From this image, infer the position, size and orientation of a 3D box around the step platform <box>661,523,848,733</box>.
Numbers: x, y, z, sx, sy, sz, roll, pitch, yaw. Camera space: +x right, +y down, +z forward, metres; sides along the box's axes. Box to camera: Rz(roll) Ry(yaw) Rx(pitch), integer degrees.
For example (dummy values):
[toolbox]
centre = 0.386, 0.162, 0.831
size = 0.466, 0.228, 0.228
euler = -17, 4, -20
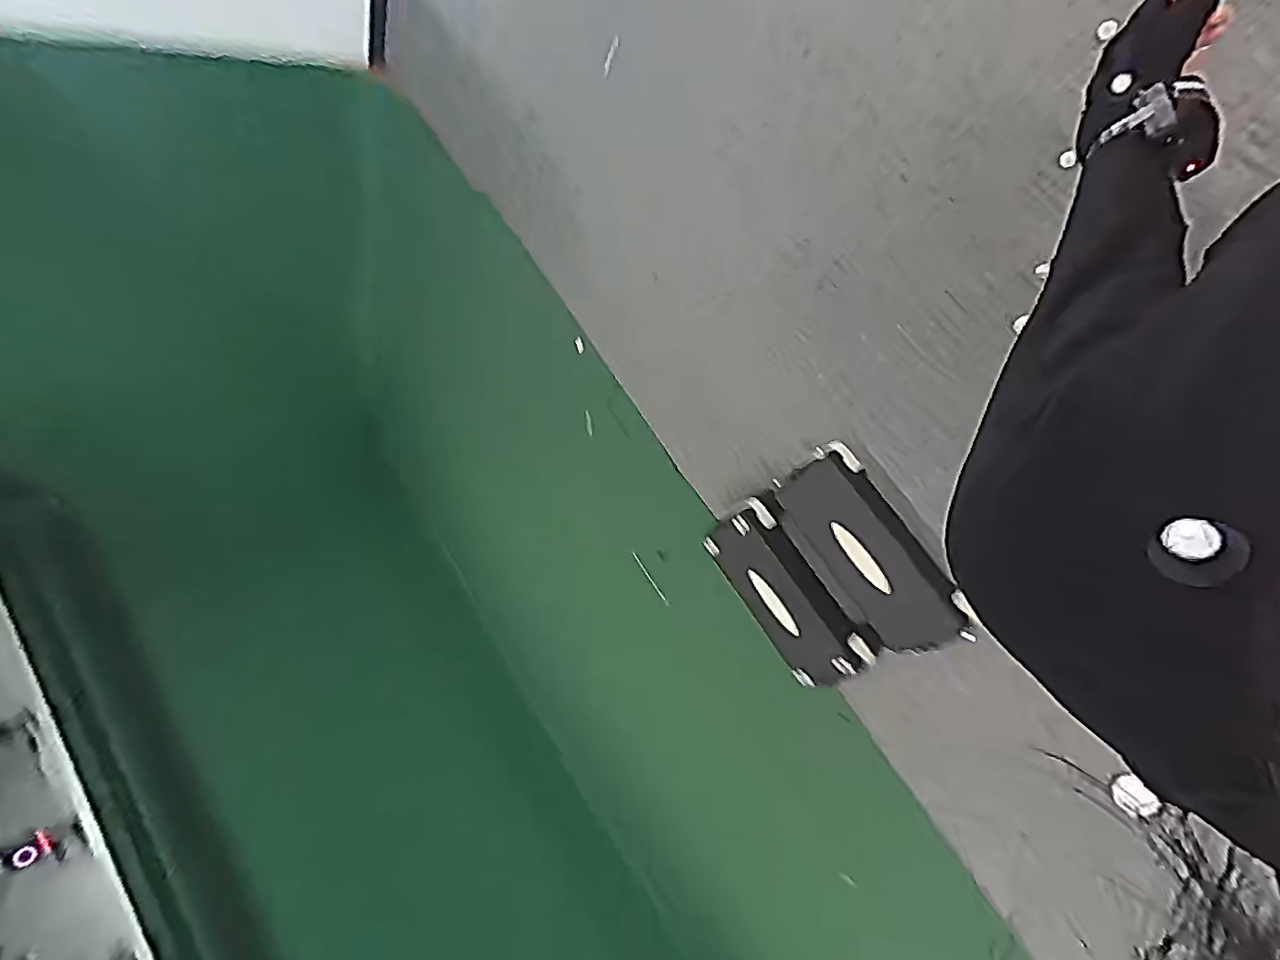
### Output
[step platform]
centre = 0.375, 0.483, 1.813
size = 0.684, 0.204, 0.286
euler = 54, 141, 9
